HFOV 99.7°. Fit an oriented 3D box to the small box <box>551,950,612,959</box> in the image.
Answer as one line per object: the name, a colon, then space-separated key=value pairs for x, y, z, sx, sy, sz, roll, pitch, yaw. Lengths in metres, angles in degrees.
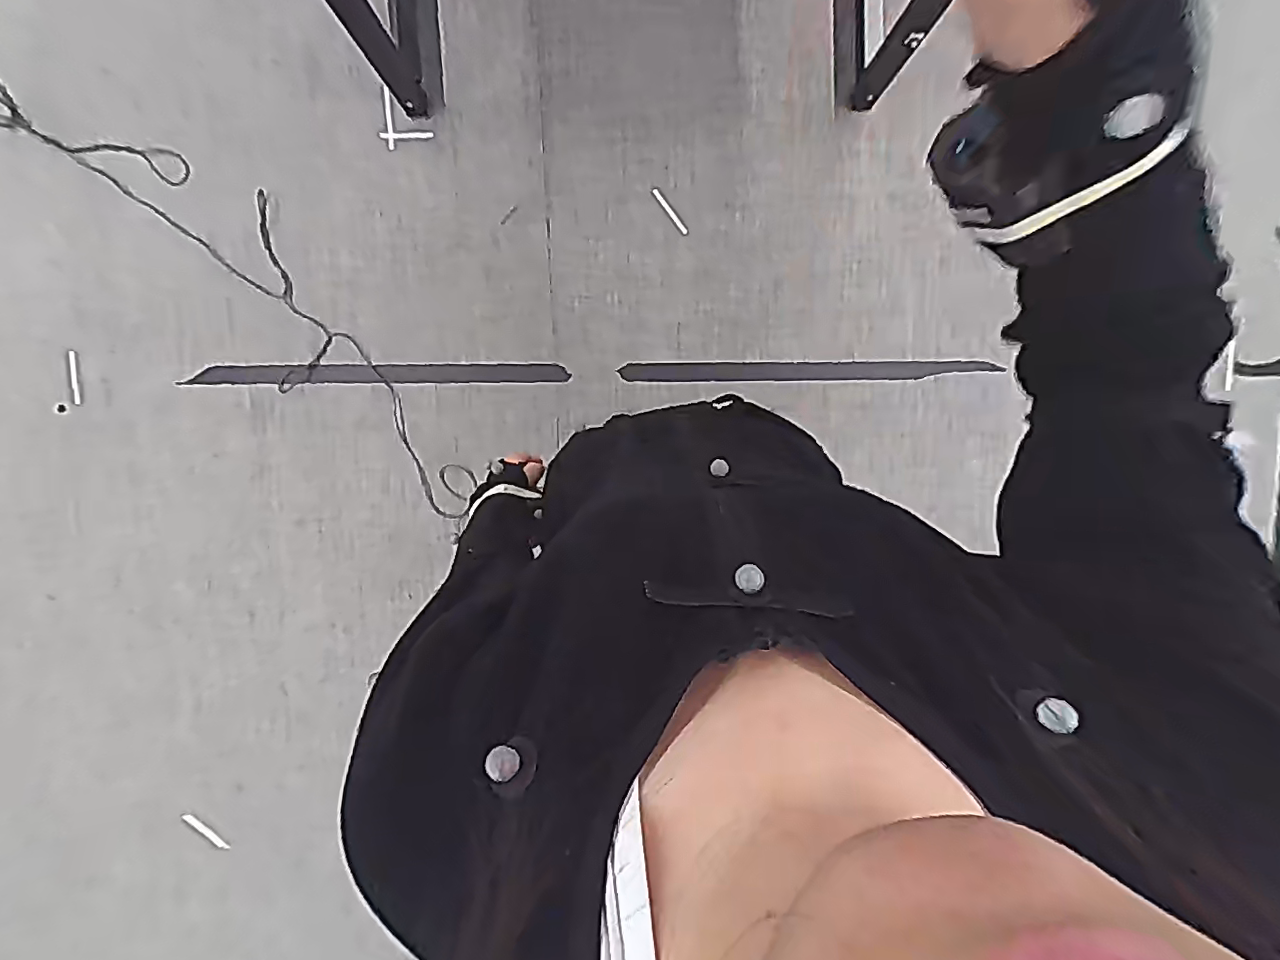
small box: x=-0.151 y=1.366 z=1.400 sx=0.168 sy=0.176 sz=0.179 roll=-5 pitch=97 yaw=0

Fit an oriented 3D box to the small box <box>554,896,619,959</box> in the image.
small box: x=-0.150 y=1.347 z=1.564 sx=0.168 sy=0.176 sz=0.179 roll=-6 pitch=98 yaw=0
